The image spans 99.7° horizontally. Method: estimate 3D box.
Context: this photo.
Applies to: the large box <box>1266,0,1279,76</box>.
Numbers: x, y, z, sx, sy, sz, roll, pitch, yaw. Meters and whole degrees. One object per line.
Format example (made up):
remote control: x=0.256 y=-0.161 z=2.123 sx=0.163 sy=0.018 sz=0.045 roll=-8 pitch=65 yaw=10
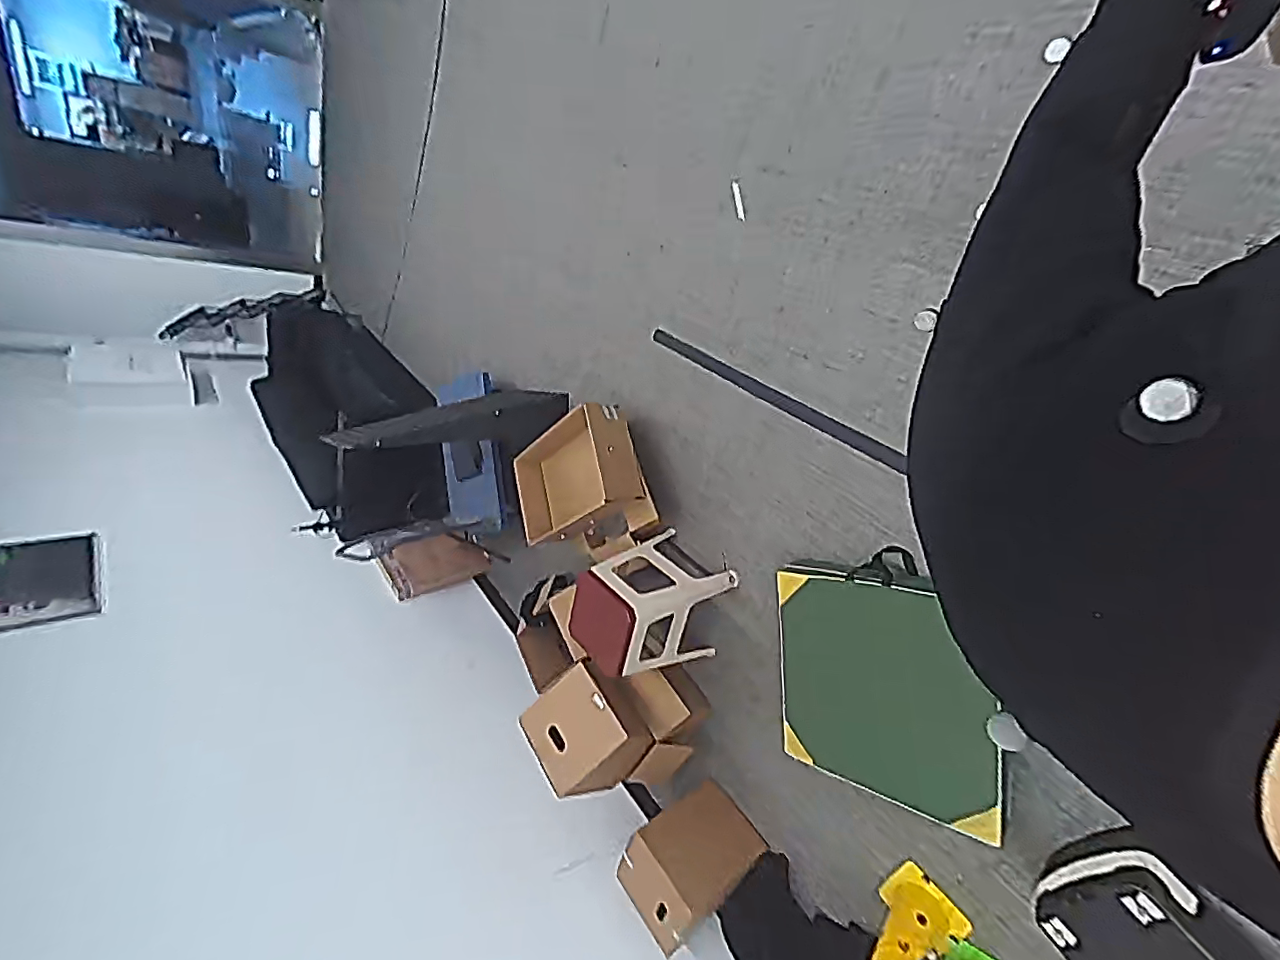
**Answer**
large box: x=0.653 y=-0.450 z=0.259 sx=0.408 sy=0.320 sz=0.320 roll=24 pitch=123 yaw=43
